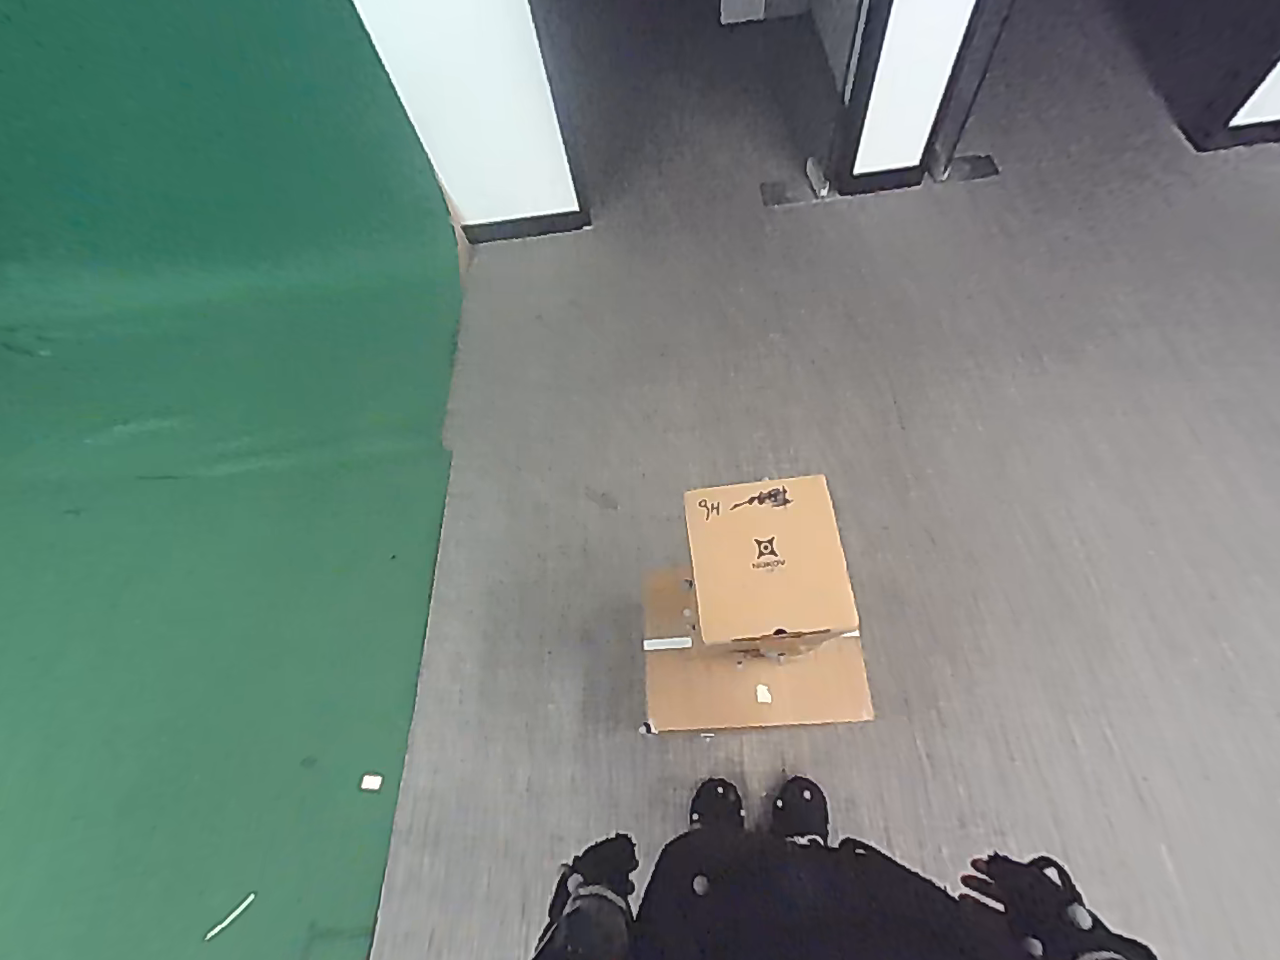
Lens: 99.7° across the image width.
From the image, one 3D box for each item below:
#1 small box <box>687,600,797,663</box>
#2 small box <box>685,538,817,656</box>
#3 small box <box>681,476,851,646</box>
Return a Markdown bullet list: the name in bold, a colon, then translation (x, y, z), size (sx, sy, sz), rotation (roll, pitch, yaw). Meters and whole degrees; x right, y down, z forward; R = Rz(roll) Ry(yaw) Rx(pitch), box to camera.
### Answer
- **small box**: translation (0.178, 0.235, 0.972), size (0.179, 0.176, 0.168), rotation (1, 68, 8)
- **small box**: translation (0.160, 0.173, 0.827), size (0.168, 0.176, 0.179), rotation (-6, 67, 4)
- **small box**: translation (0.144, 0.111, 0.676), size (0.168, 0.176, 0.179), rotation (-7, 69, 3)
